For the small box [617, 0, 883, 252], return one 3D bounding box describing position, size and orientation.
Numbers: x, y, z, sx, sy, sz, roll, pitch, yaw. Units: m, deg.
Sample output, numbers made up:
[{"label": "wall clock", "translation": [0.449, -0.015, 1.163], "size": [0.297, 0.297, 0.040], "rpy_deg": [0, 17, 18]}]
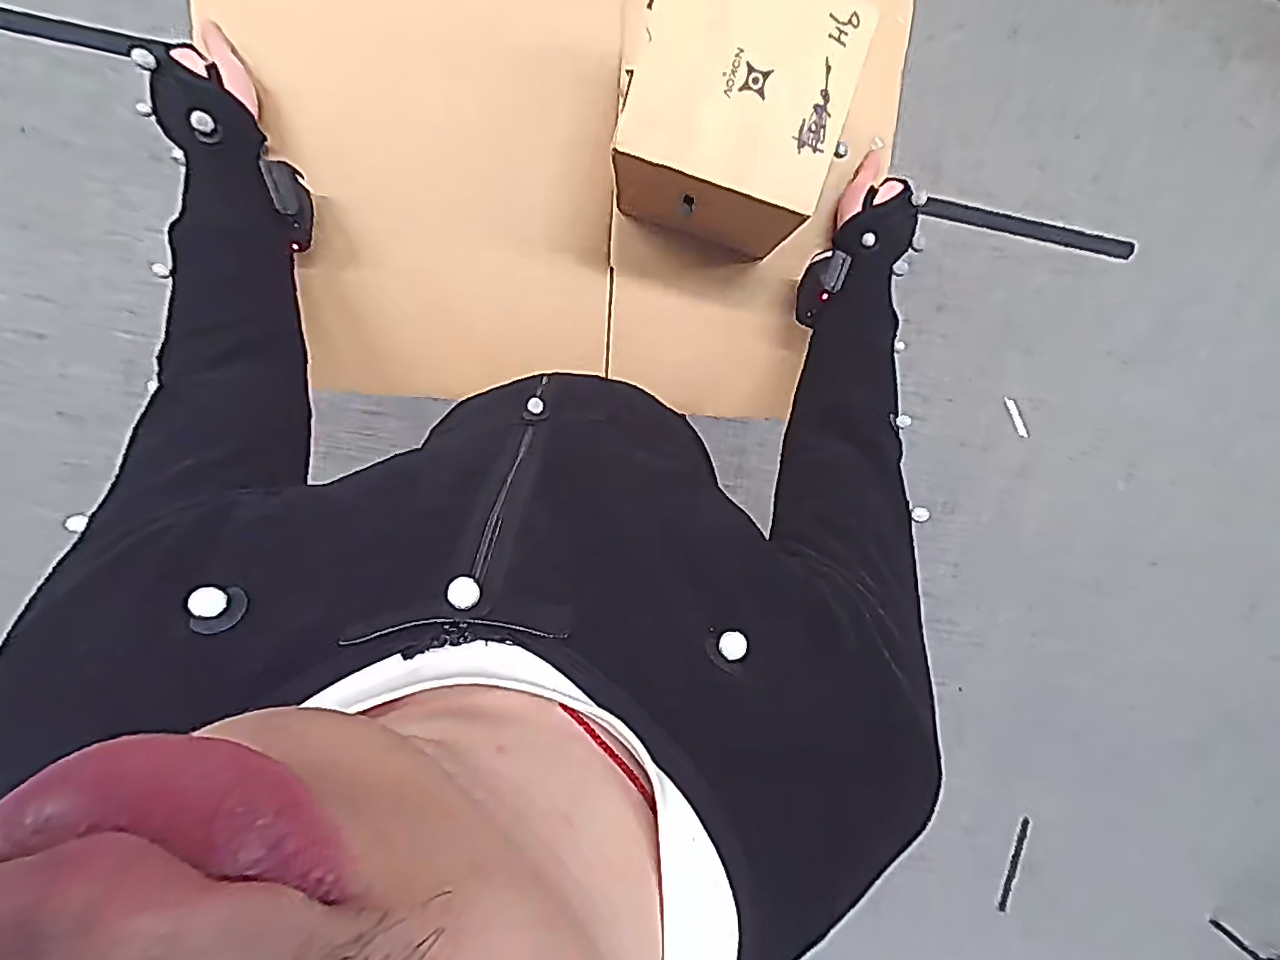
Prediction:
[{"label": "small box", "translation": [0.087, -0.337, 0.515], "size": [0.179, 0.176, 0.168], "rpy_deg": [17, 100, -3]}]
